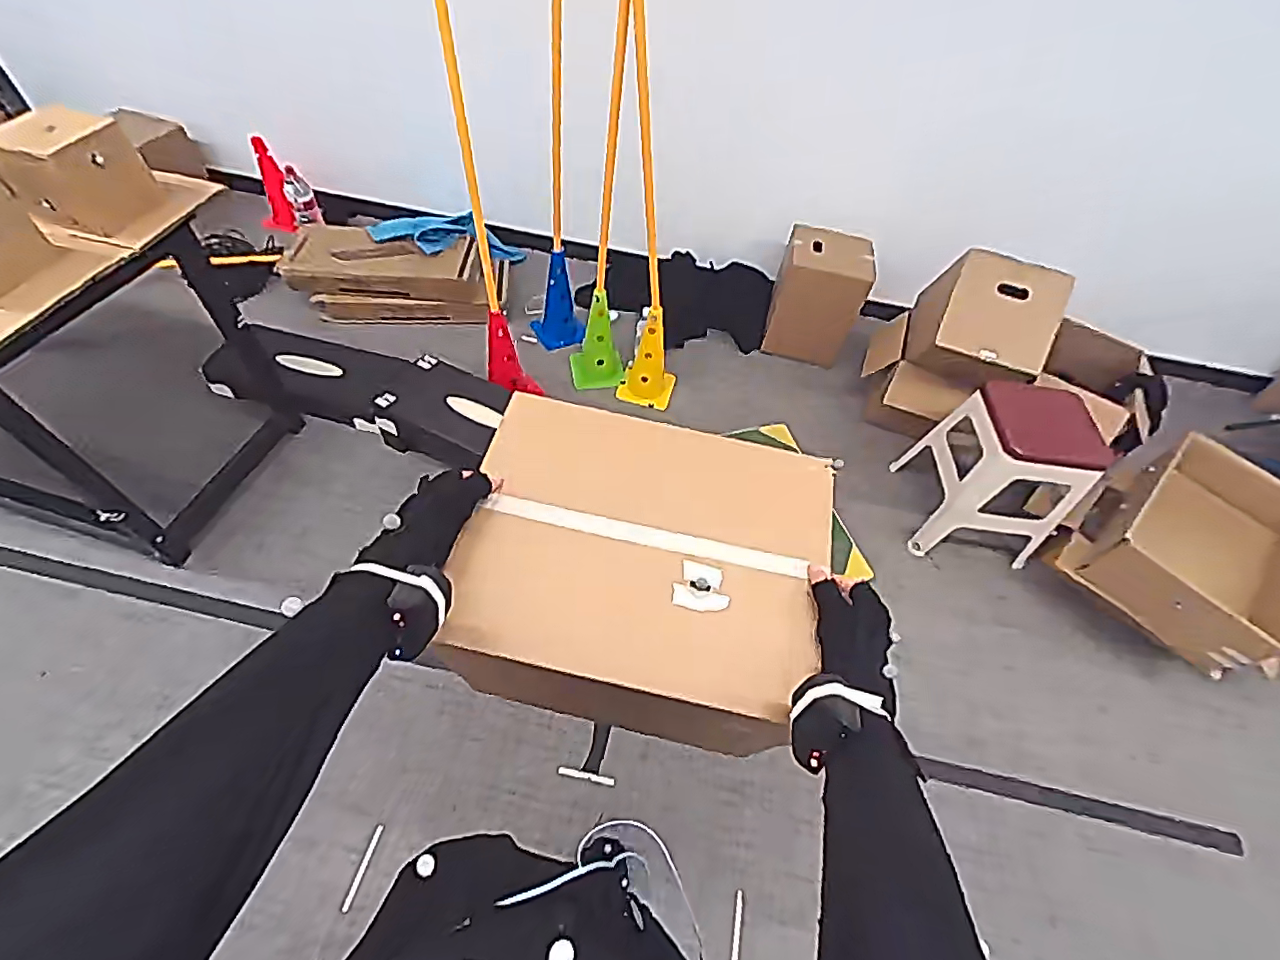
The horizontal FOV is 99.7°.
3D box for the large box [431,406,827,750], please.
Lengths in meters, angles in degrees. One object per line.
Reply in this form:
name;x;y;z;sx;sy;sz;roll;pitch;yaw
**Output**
large box;-0.002;0.147;0.734;0.408;0.320;0.320;13;60;2
